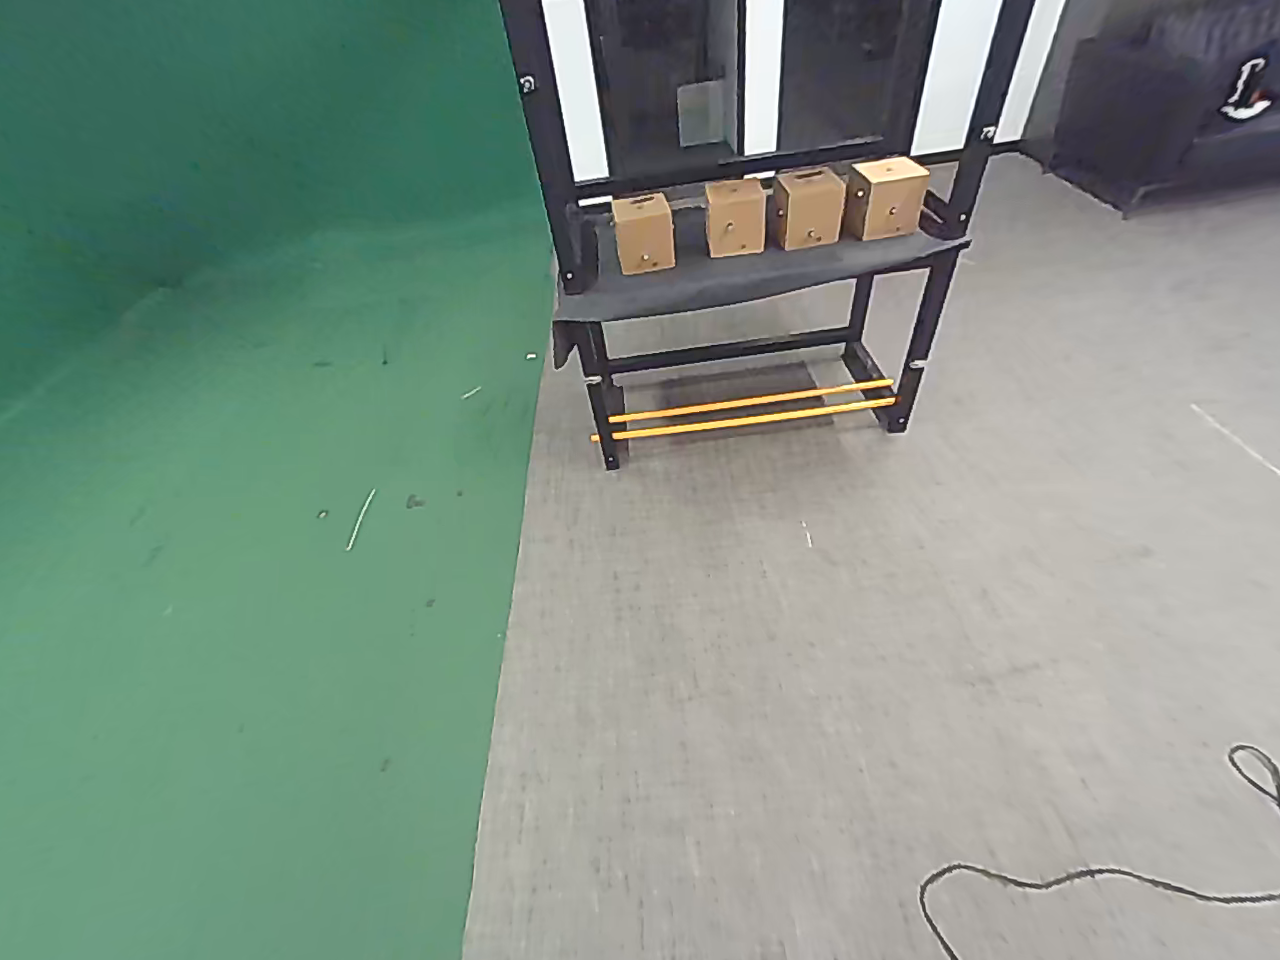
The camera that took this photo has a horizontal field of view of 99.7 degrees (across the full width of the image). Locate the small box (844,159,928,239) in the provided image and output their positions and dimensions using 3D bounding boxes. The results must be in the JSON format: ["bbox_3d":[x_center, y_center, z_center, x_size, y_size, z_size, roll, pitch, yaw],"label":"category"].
[{"bbox_3d":[0.740,-0.850,1.646,0.168,0.176,0.179,-8,45,1],"label":"small box"}]

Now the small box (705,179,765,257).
[{"bbox_3d":[0.296,-0.812,1.690,0.168,0.176,0.179,-5,45,5],"label":"small box"}]

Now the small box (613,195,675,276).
[{"bbox_3d":[0.012,-0.759,1.682,0.168,0.176,0.179,-10,46,0],"label":"small box"}]
